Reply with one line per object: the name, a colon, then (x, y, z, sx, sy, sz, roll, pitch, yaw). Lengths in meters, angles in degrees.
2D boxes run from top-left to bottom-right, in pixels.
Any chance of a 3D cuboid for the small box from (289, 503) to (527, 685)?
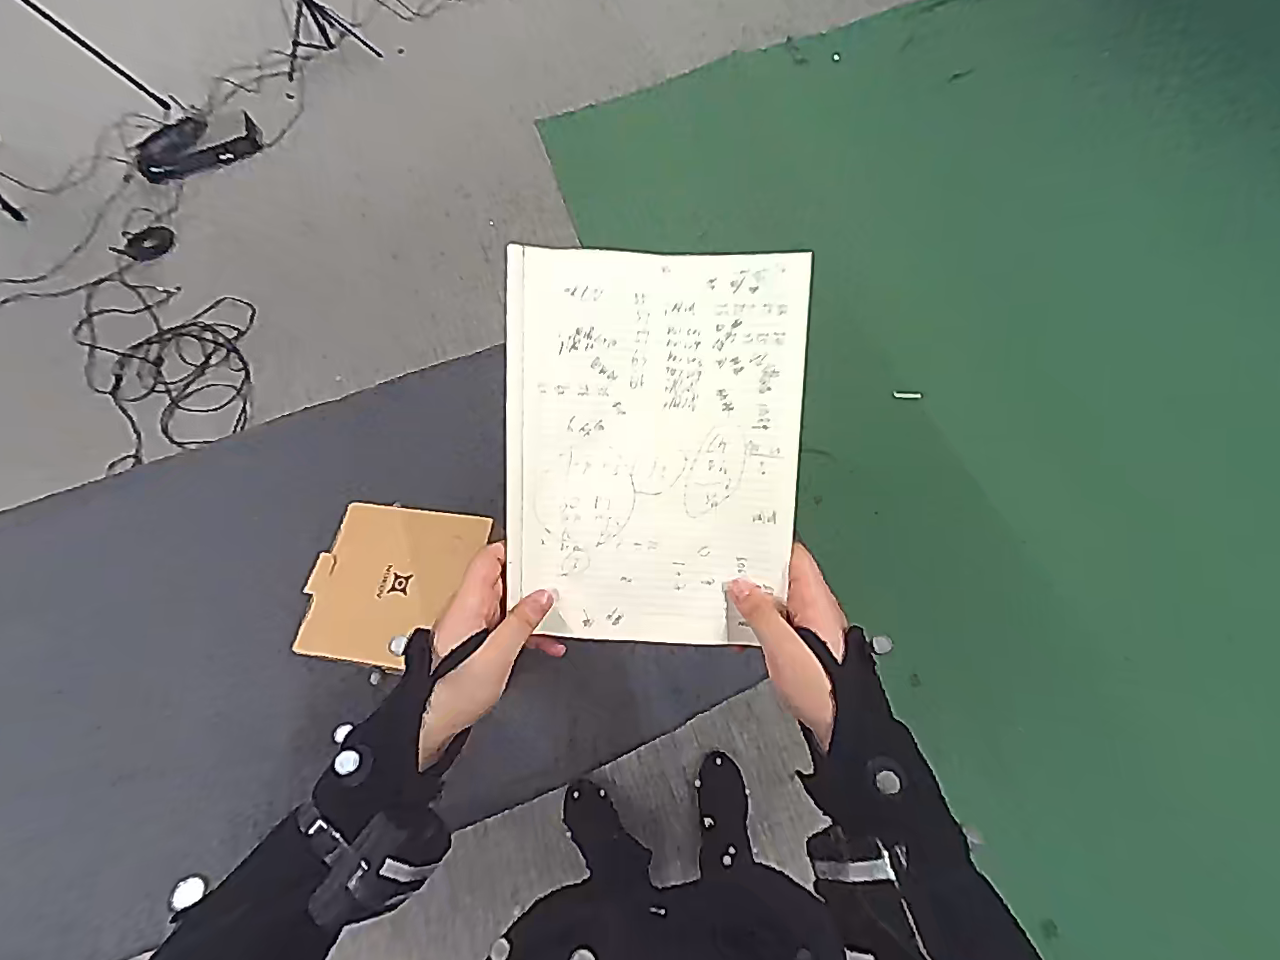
small box: (-0.248, 0.140, 0.631, 0.179, 0.176, 0.168, 5, 66, 9)
